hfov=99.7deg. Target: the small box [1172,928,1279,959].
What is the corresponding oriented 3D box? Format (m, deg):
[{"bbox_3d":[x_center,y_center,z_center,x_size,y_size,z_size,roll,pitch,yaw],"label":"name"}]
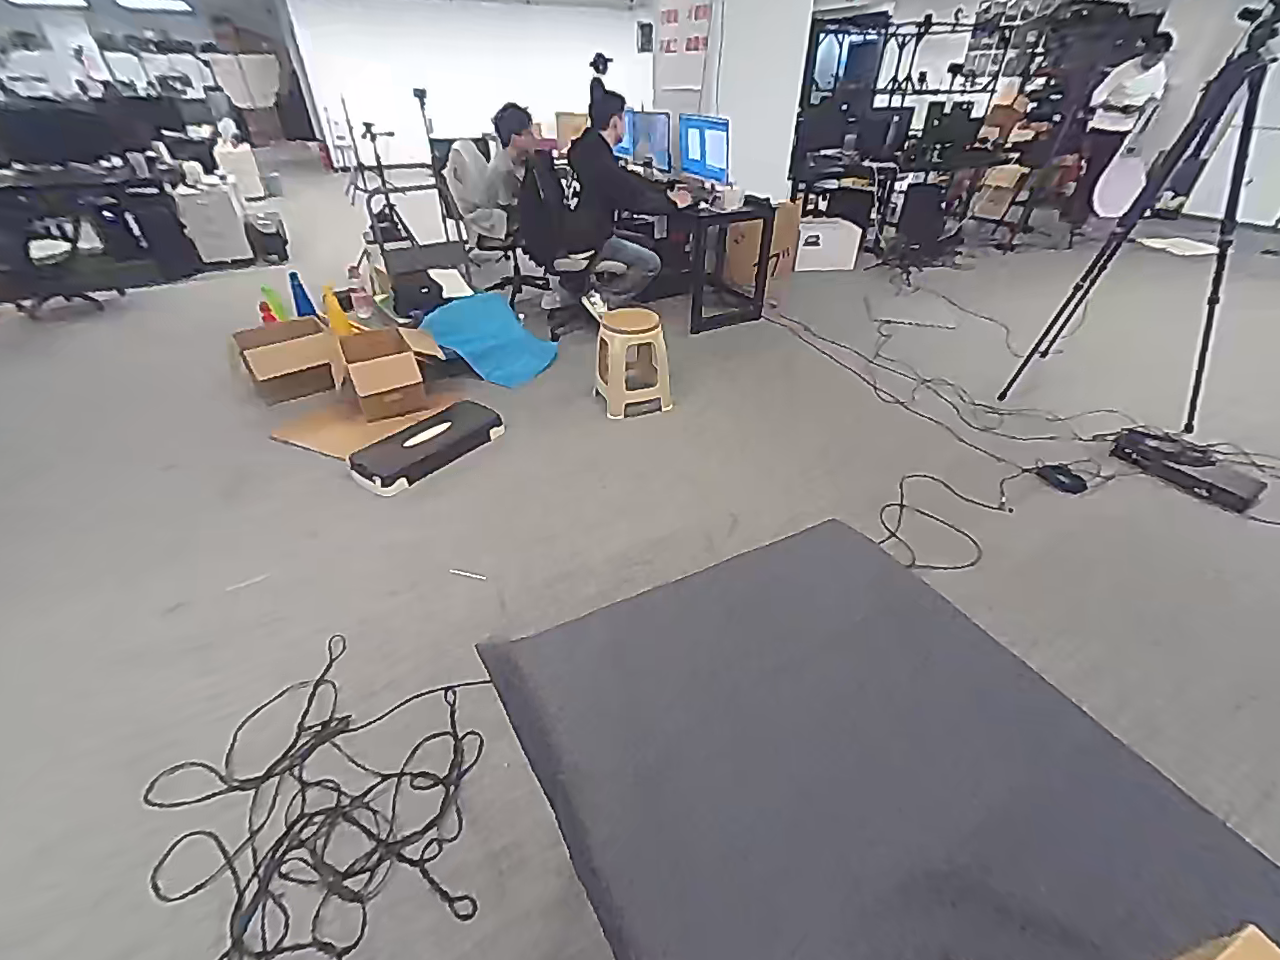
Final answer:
[{"bbox_3d":[0.400,0.457,0.358,0.179,0.176,0.168,-14,40,-21],"label":"small box"}]
